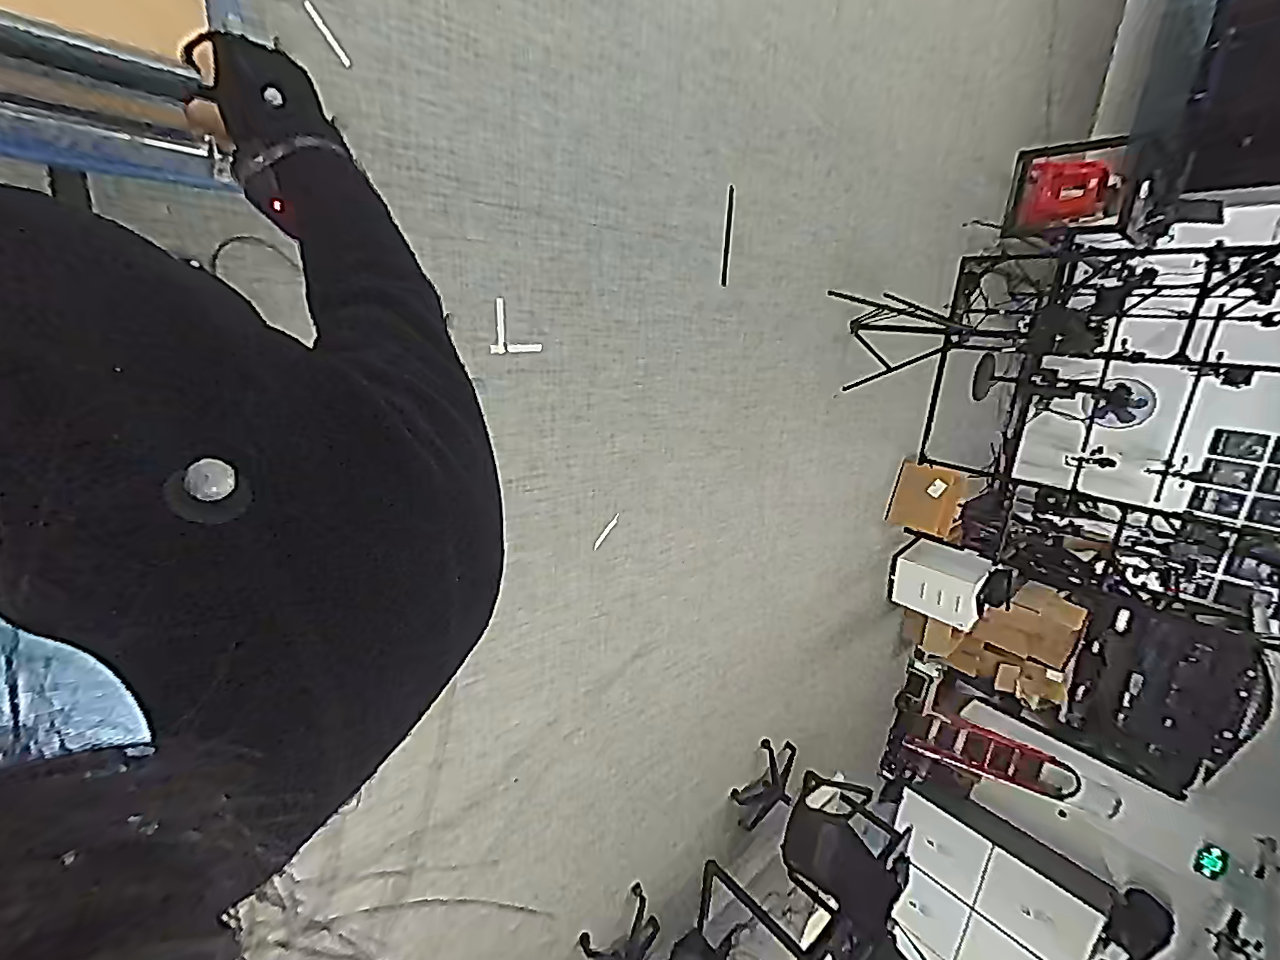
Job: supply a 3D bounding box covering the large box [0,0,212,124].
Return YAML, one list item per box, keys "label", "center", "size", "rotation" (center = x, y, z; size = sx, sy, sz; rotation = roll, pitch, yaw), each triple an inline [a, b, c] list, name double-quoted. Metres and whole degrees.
- label: "large box"
  center: [-0.830, -0.701, 0.675]
  size: [0.408, 0.320, 0.320]
  rotation: [-11, 113, -42]
